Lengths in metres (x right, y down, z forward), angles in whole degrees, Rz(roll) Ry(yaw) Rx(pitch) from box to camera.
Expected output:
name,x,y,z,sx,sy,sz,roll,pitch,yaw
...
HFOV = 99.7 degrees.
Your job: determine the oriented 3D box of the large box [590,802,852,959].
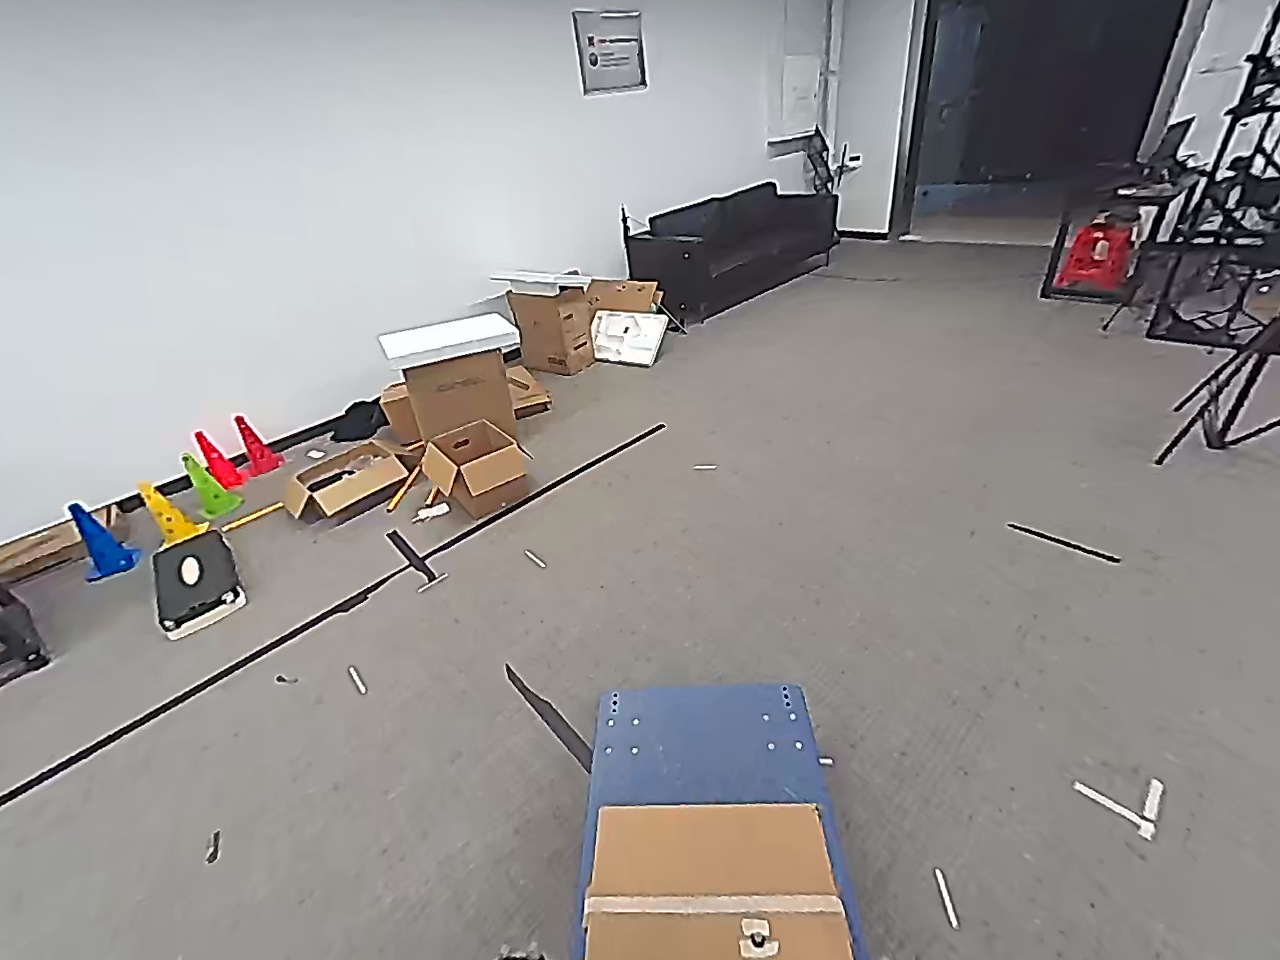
name,x,y,z,sx,sy,sz,roll,pitch,yaw
large box,0.132,0.813,0.960,0.408,0.320,0.320,-3,33,4
